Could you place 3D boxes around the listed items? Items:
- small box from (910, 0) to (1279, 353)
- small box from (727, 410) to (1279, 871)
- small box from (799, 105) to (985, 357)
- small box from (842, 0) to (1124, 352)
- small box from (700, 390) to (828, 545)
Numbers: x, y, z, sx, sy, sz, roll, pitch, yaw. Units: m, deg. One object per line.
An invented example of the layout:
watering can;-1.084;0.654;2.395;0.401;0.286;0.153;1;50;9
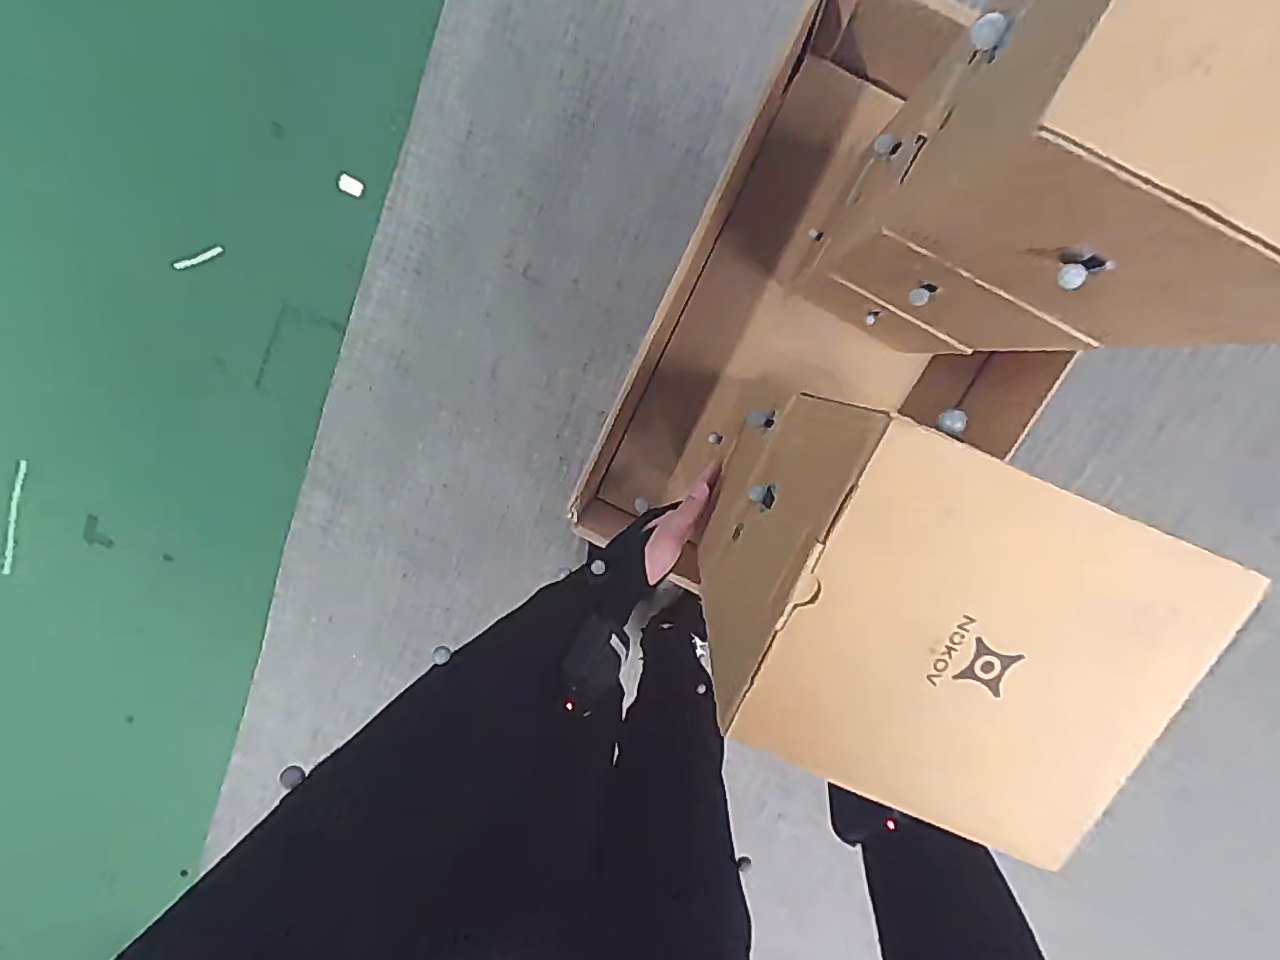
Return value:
small box;0.276;-0.173;0.260;0.179;0.176;0.168;28;104;-2
small box;0.166;0.066;0.317;0.179;0.176;0.168;23;103;-1
small box;0.297;-0.243;0.581;0.179;0.176;0.168;29;103;-3
small box;0.288;-0.209;0.420;0.179;0.176;0.168;28;104;-1
small box;0.185;-0.001;0.636;0.179;0.176;0.168;25;101;-2
